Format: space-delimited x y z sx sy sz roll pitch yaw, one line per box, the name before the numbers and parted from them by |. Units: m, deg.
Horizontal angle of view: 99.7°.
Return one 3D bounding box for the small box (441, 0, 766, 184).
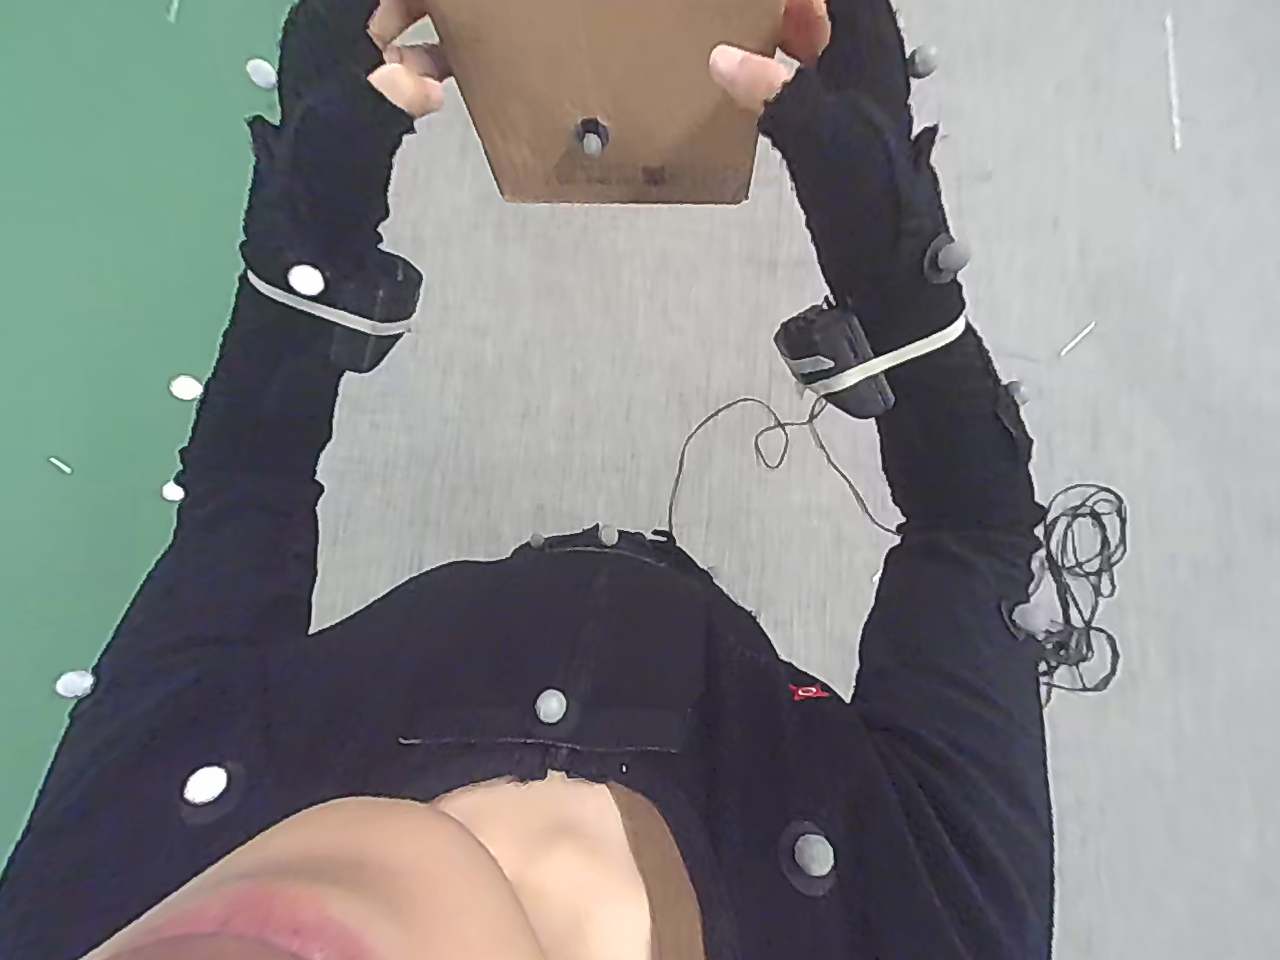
small box | -0.017 -0.303 0.302 0.168 0.176 0.179 2 77 4
